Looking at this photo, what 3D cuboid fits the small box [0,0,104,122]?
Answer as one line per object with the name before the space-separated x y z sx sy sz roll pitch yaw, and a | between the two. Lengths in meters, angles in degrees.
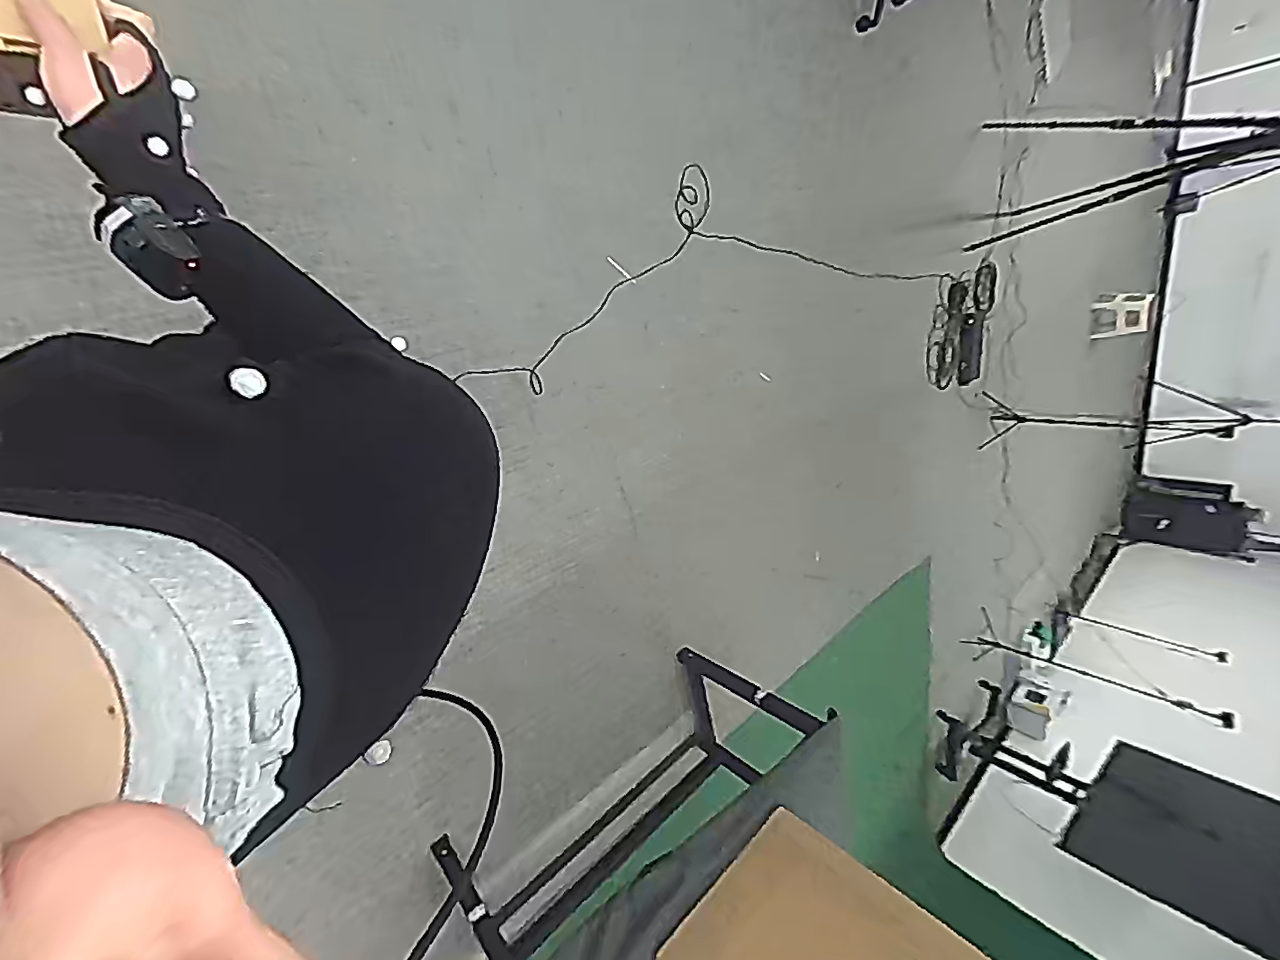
small box | -0.527 -0.385 0.387 0.168 0.176 0.179 -23 115 -43
